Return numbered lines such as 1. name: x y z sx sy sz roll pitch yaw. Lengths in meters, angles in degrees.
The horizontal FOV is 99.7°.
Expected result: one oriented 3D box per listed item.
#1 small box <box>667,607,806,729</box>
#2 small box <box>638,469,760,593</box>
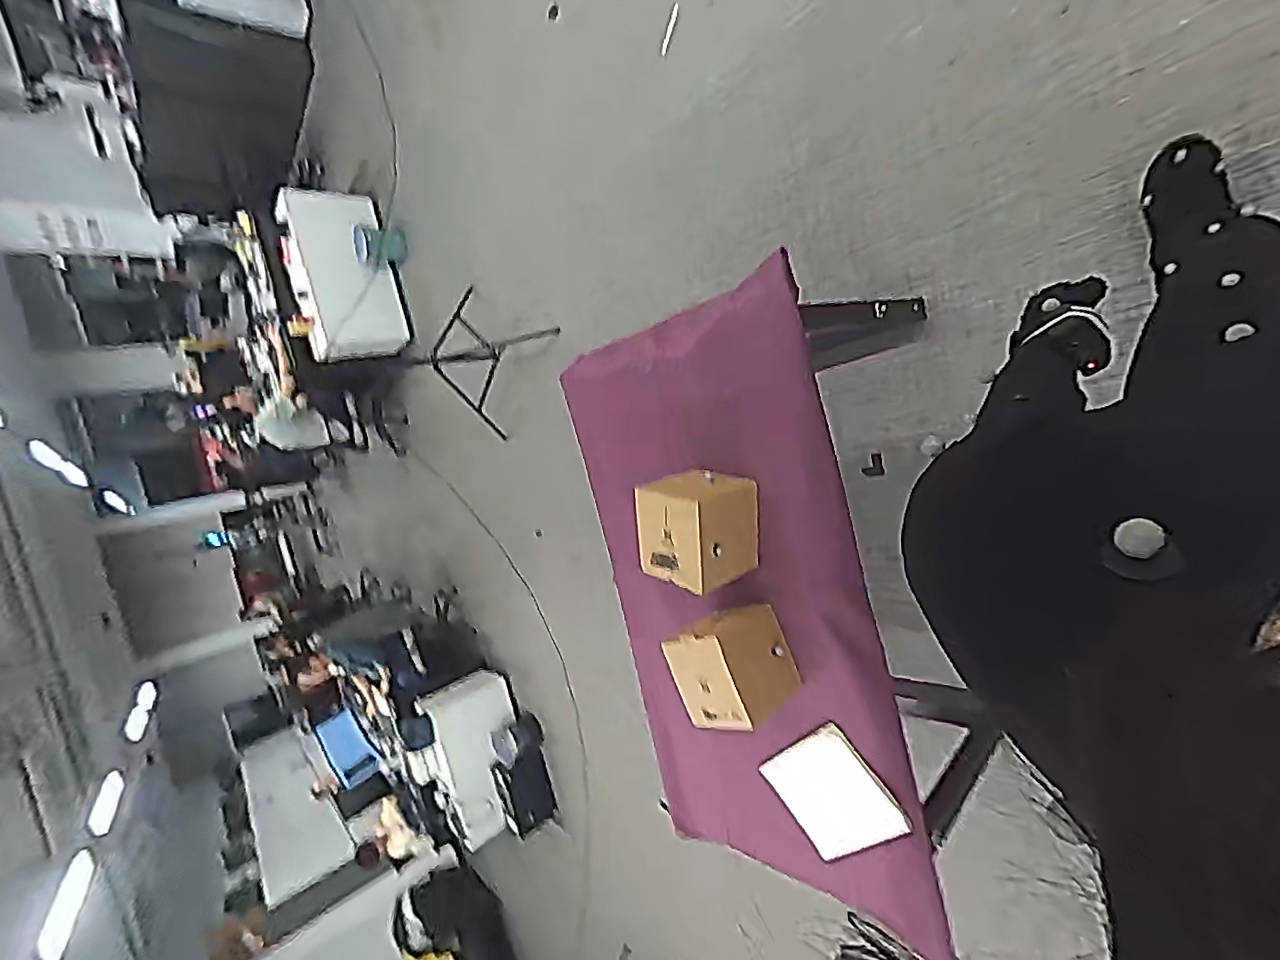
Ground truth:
1. small box: 0.189 0.358 1.055 0.168 0.176 0.179 -30 80 51
2. small box: 0.117 0.088 1.039 0.168 0.176 0.179 12 112 48
